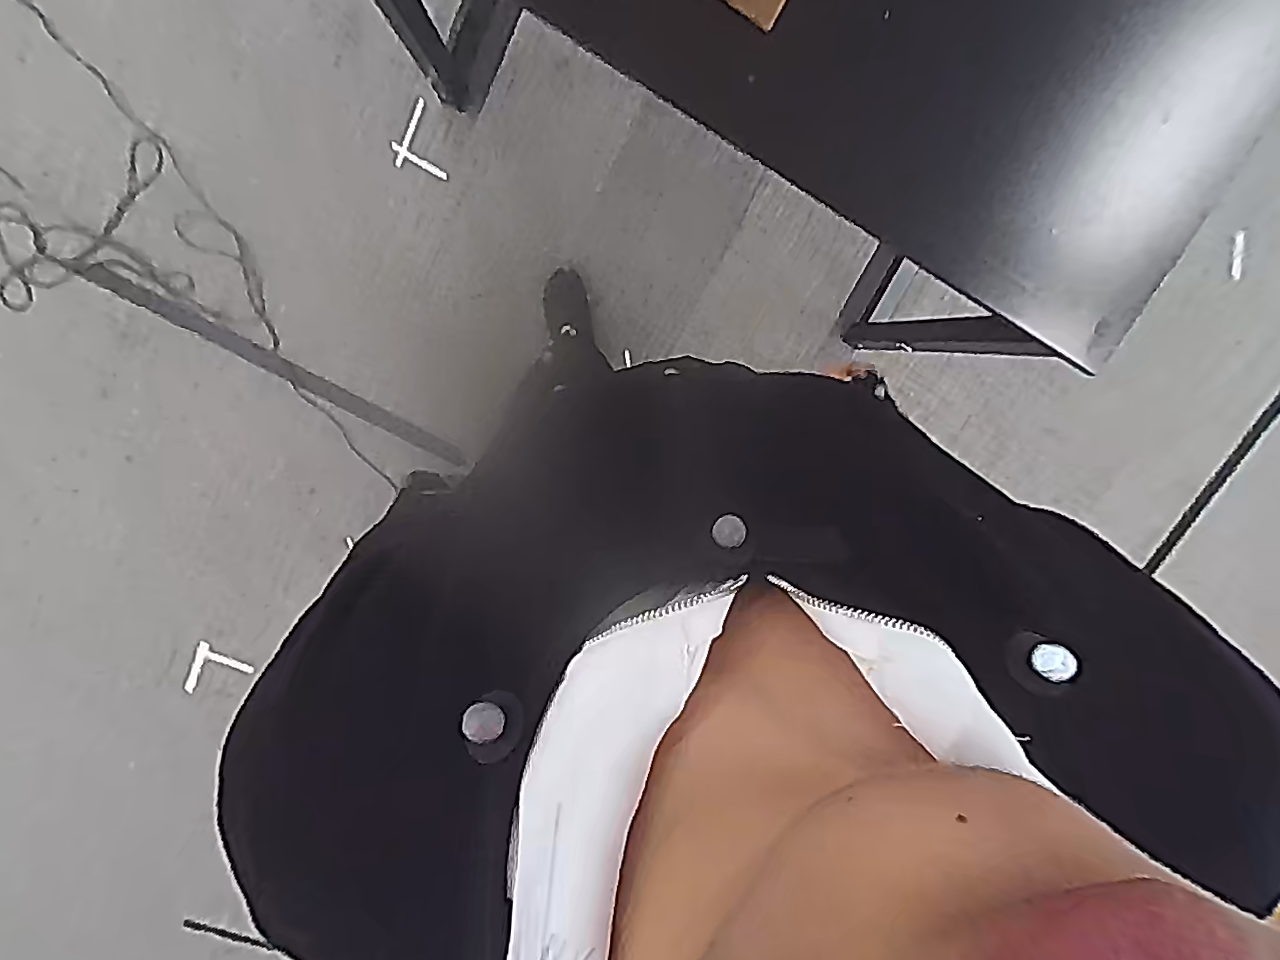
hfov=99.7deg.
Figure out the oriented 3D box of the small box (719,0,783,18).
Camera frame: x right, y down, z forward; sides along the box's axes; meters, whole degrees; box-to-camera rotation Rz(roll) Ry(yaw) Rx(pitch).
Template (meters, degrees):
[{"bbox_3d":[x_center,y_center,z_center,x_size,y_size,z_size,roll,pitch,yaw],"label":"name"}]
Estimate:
[{"bbox_3d":[0.115,-0.599,0.513,0.179,0.176,0.168,27,100,-11],"label":"small box"}]
